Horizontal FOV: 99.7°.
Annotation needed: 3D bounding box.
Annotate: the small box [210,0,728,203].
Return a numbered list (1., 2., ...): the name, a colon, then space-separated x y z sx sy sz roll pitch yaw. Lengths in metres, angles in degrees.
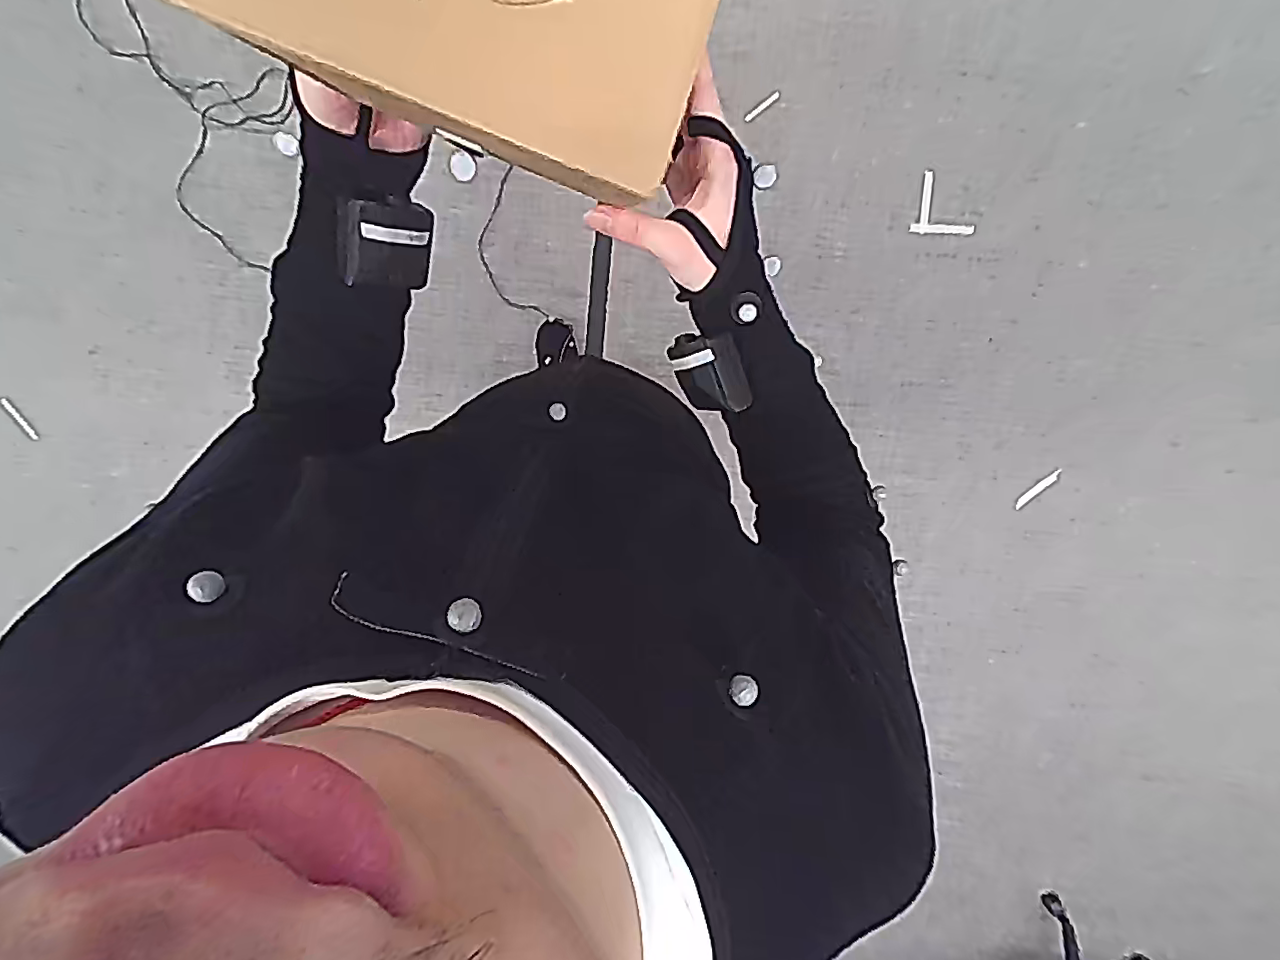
1. small box: -0.047 -0.241 0.233 0.168 0.176 0.179 15 113 -12
